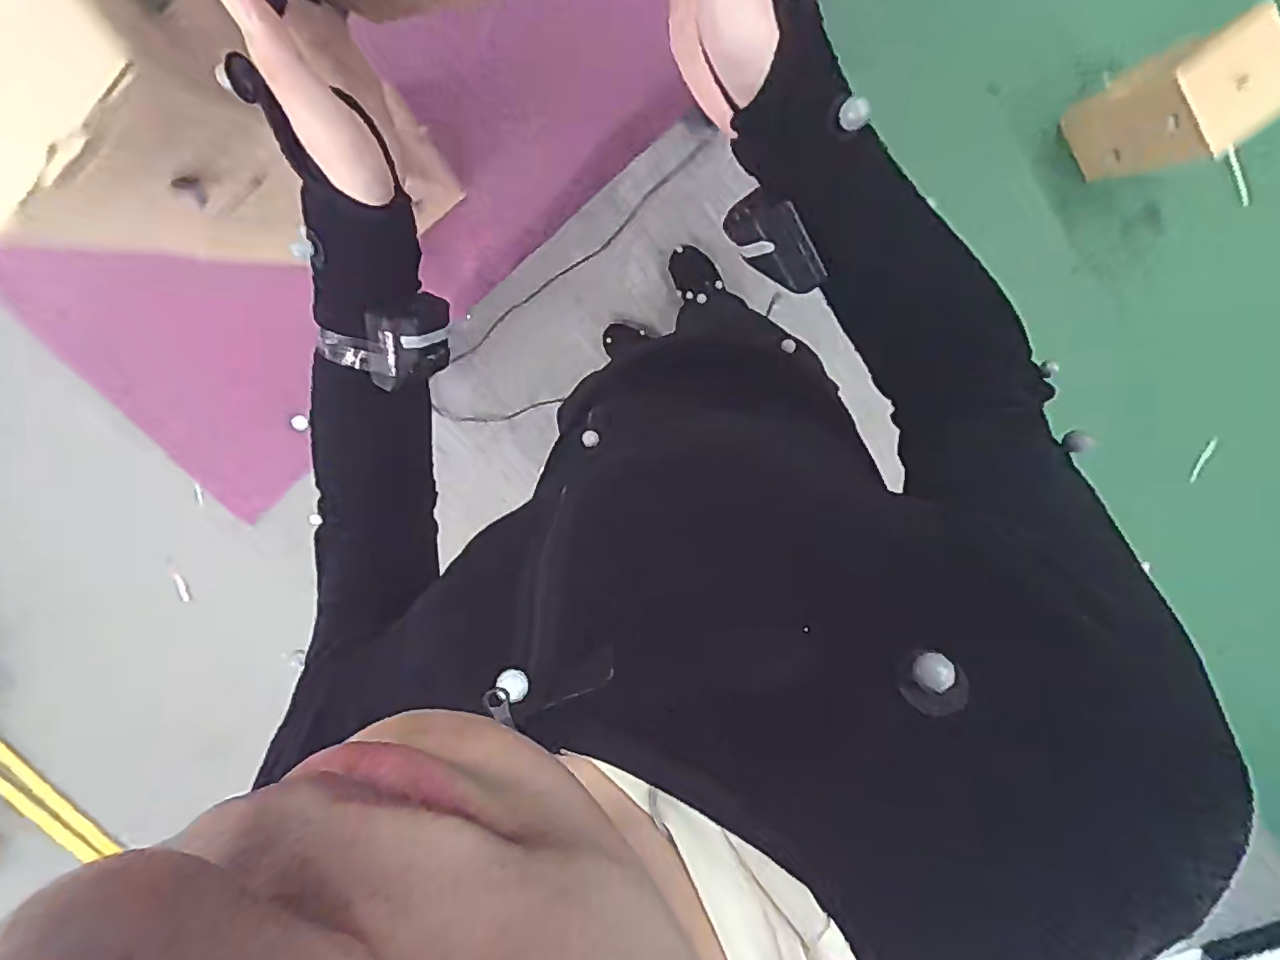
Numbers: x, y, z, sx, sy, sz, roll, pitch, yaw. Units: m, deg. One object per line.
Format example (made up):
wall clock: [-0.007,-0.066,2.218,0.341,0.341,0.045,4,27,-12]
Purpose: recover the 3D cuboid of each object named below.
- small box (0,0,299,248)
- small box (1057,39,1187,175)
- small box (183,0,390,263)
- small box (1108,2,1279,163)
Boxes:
small box: [-0.404,-0.293,0.393,0.168,0.176,0.179,-33,105,14]
small box: [1.090,-0.812,1.203,0.168,0.176,0.179,-36,104,16]
small box: [-0.388,-0.343,0.547,0.179,0.176,0.168,-32,105,15]
small box: [1.084,-0.751,1.052,0.168,0.176,0.179,-39,102,17]
